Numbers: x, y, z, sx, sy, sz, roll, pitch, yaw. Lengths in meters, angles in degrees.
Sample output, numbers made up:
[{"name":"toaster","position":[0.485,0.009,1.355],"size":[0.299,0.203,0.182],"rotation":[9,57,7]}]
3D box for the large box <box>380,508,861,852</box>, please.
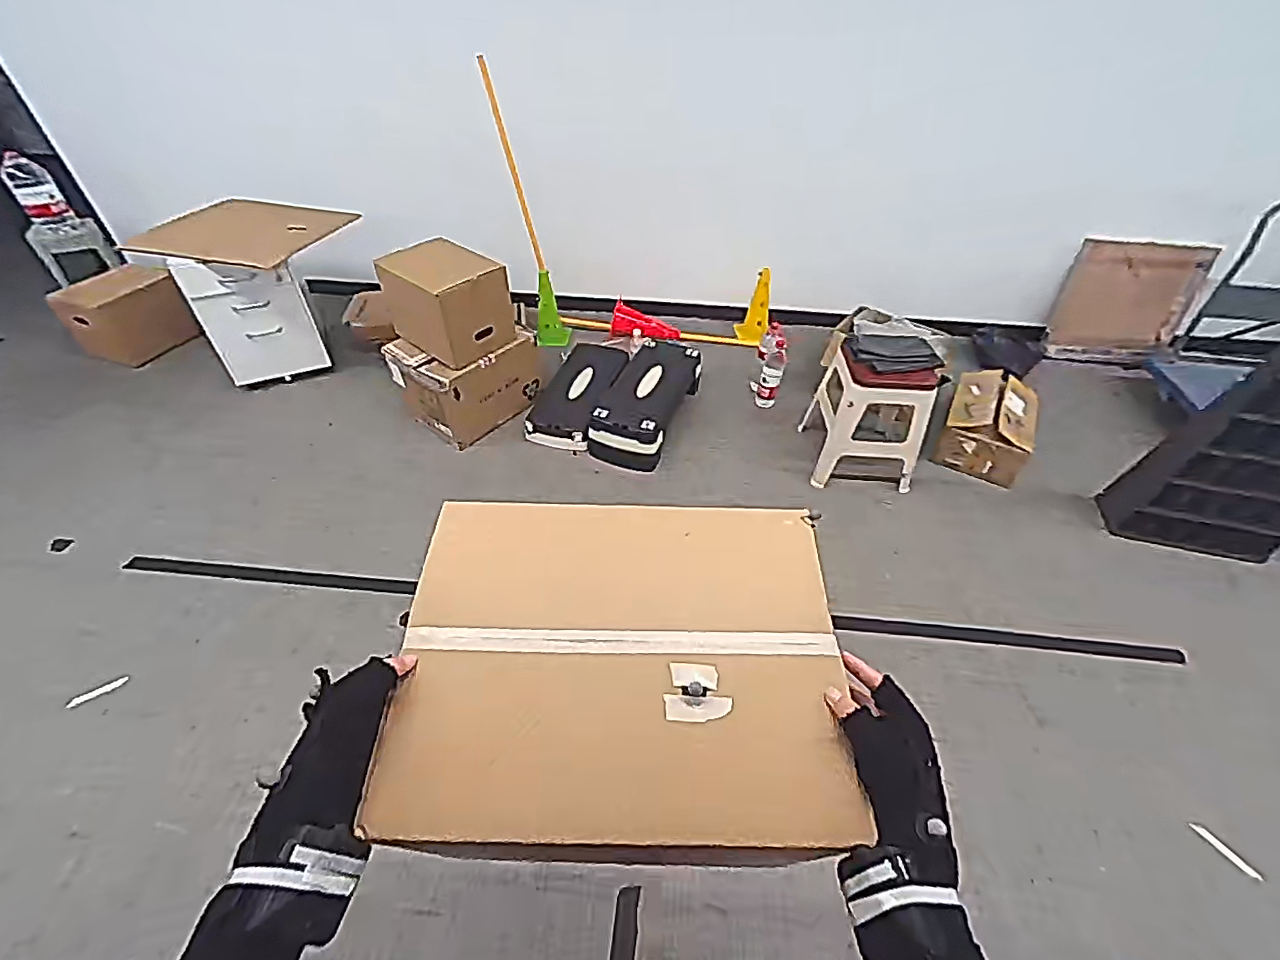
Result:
[{"name":"large box","position":[-0.019,0.246,0.646],"size":[0.408,0.320,0.320],"rotation":[1,53,-1]}]
